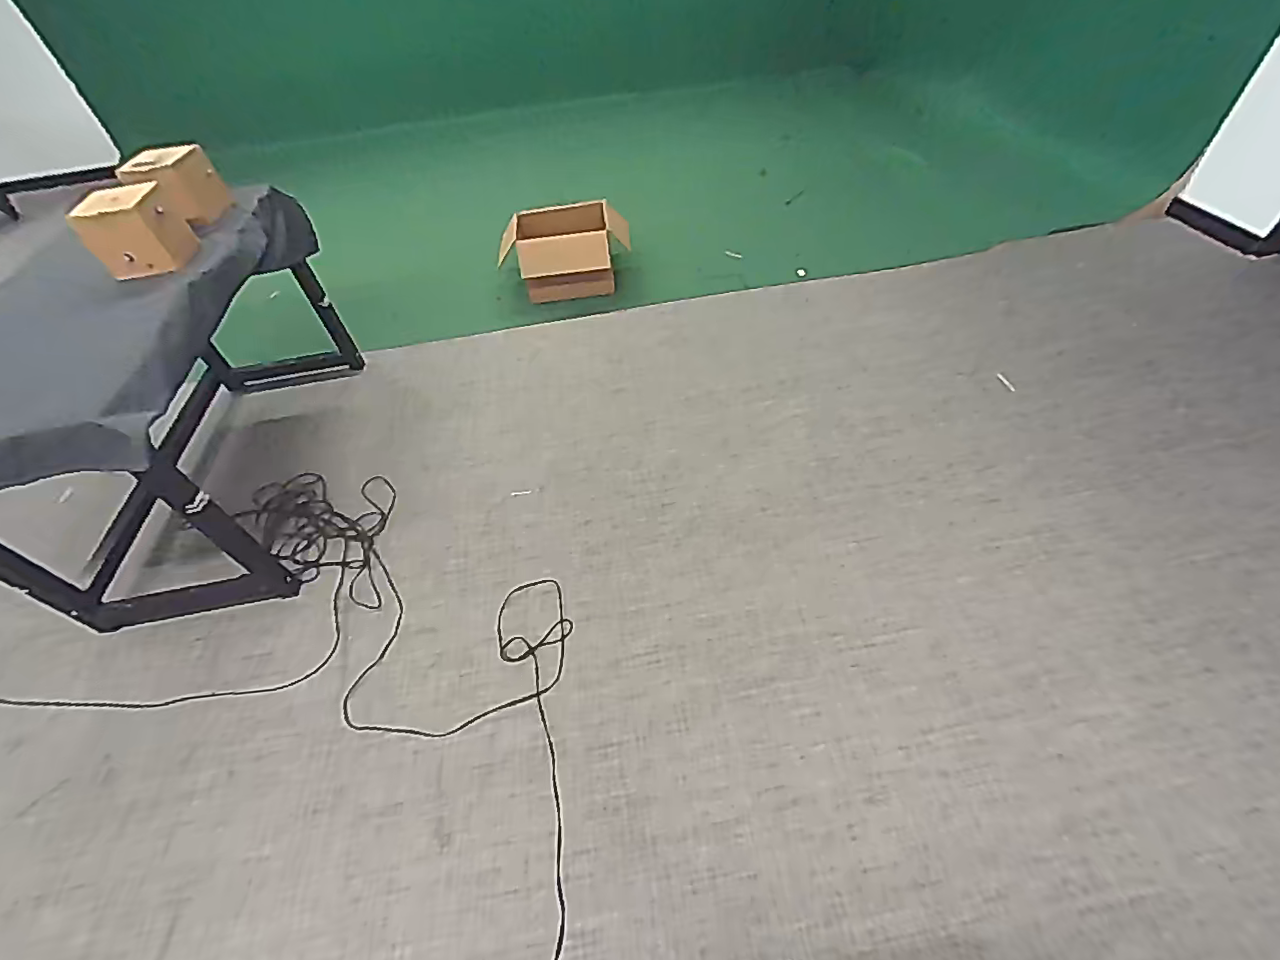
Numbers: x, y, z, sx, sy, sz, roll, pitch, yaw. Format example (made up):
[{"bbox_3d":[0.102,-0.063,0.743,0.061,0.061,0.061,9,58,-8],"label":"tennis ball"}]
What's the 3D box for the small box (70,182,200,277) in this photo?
[{"bbox_3d":[-1.337,-0.670,1.450,0.168,0.176,0.179,-12,50,-4],"label":"small box"}]
